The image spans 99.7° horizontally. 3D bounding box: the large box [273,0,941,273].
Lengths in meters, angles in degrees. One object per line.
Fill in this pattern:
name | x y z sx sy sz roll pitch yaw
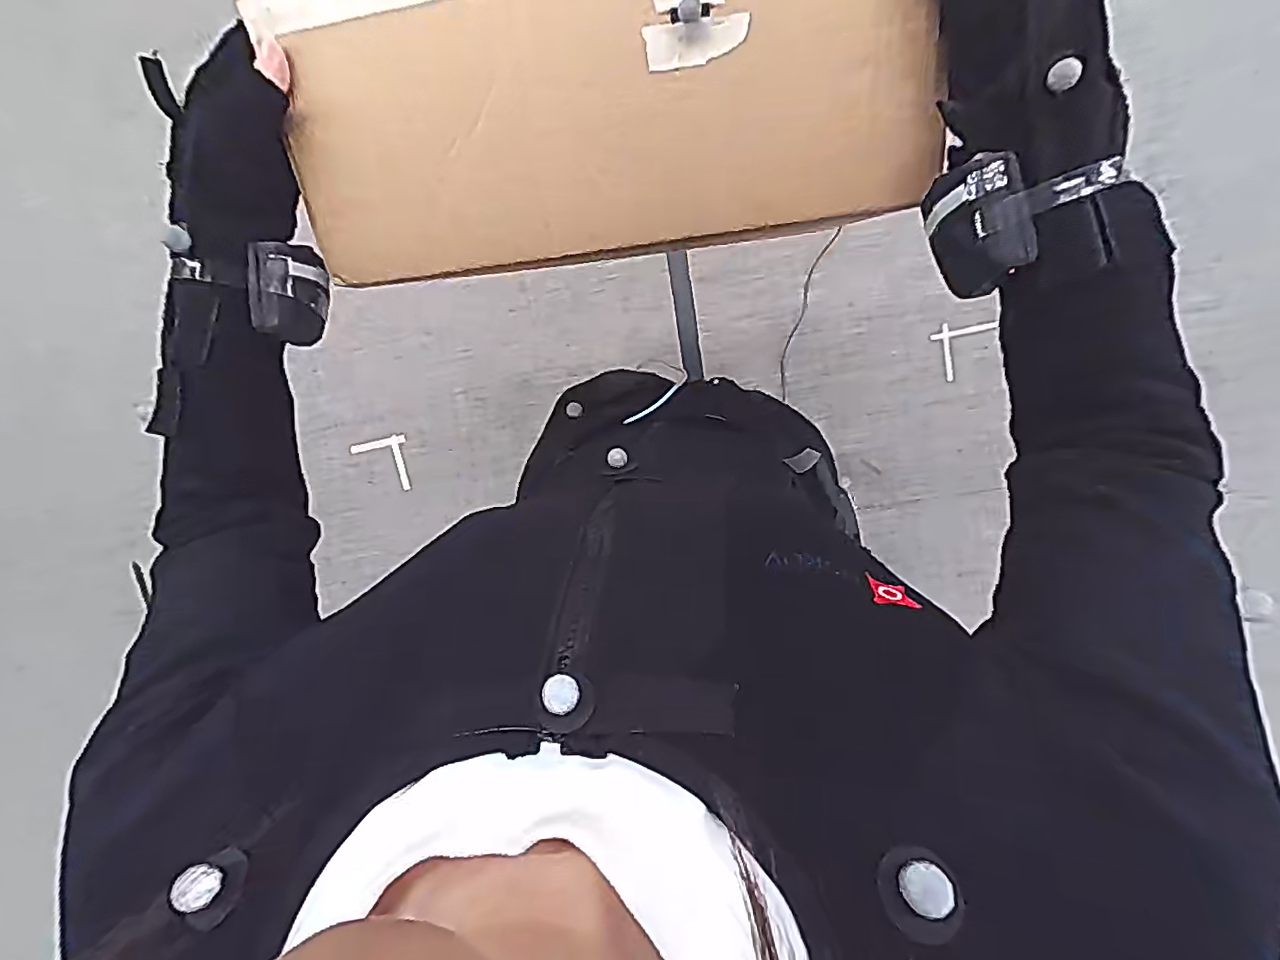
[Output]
large box | -0.019 -0.366 0.445 0.408 0.320 0.320 -4 113 10
